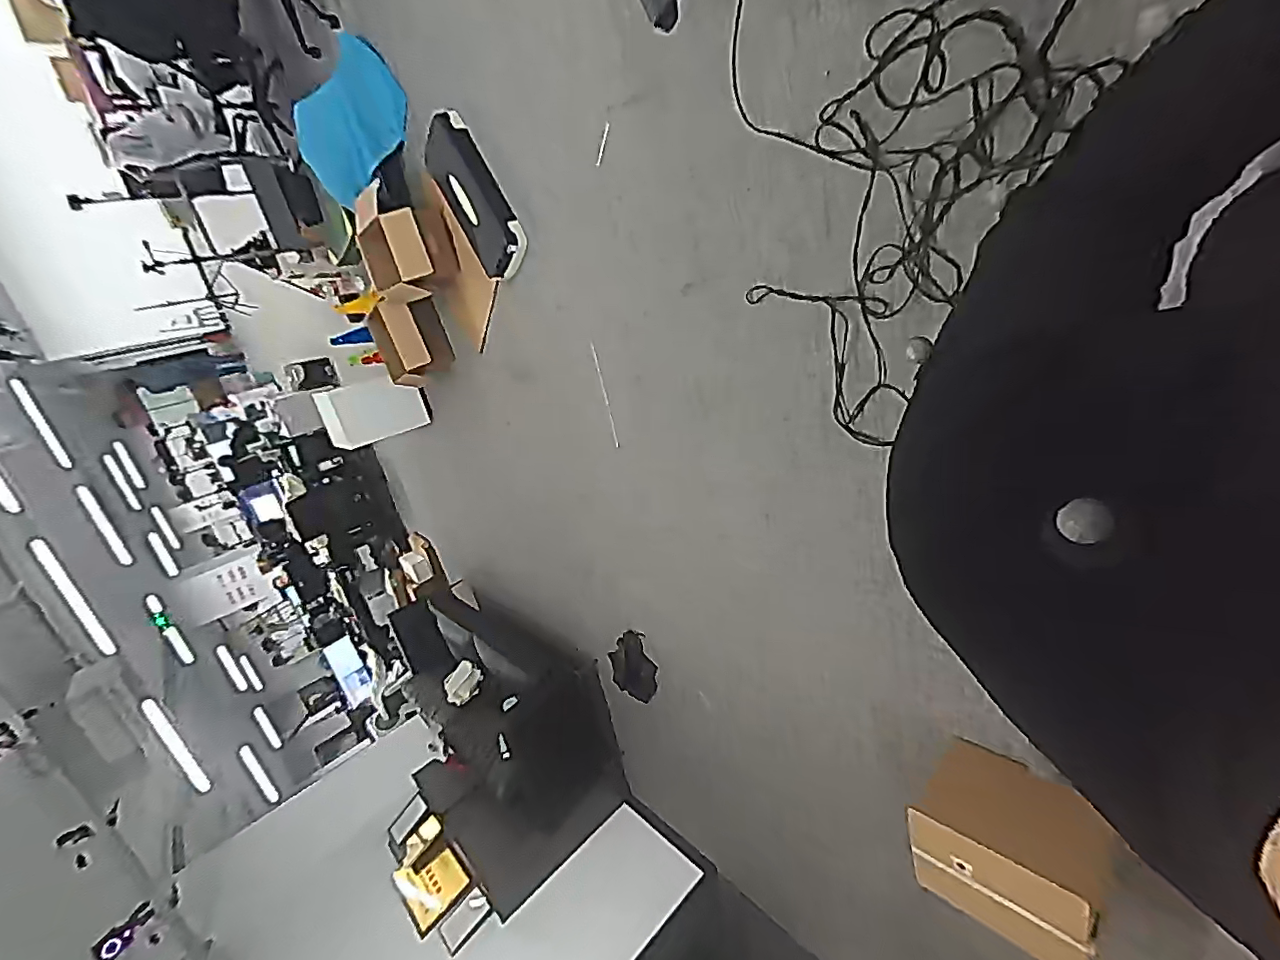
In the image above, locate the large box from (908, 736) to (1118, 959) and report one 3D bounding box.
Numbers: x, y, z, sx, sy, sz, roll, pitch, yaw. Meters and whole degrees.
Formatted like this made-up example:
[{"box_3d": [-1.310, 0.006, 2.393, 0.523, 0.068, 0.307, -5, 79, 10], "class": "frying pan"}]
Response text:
[{"box_3d": [1.020, 0.998, 1.487, 0.408, 0.320, 0.320, 9, 119, 50], "class": "large box"}]
